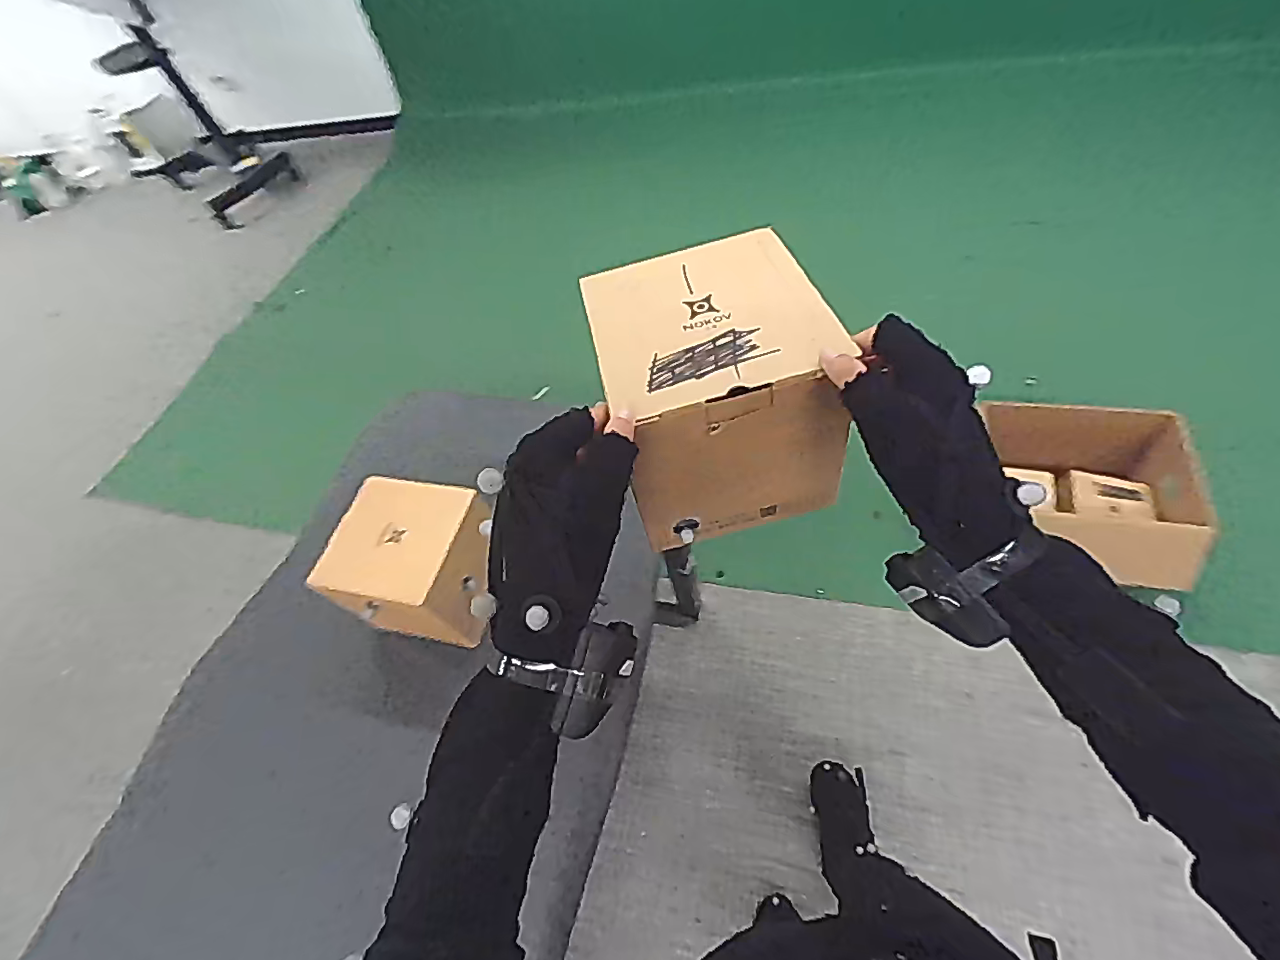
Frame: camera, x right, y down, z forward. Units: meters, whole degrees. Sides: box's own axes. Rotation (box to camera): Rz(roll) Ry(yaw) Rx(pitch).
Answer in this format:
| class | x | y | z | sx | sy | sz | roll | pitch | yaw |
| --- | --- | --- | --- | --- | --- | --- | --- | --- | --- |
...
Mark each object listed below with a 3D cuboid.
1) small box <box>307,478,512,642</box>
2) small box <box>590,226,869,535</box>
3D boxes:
| class | x | y | z | sx | sy | sz | roll | pitch | yaw |
| --- | --- | --- | --- | --- | --- | --- | --- | --- | --- |
| small box | -0.306 | 0.117 | 0.763 | 0.179 | 0.176 | 0.168 | 6 | 58 | 16 |
| small box | 0.066 | -0.071 | 0.450 | 0.168 | 0.176 | 0.179 | -14 | 52 | 2 |
